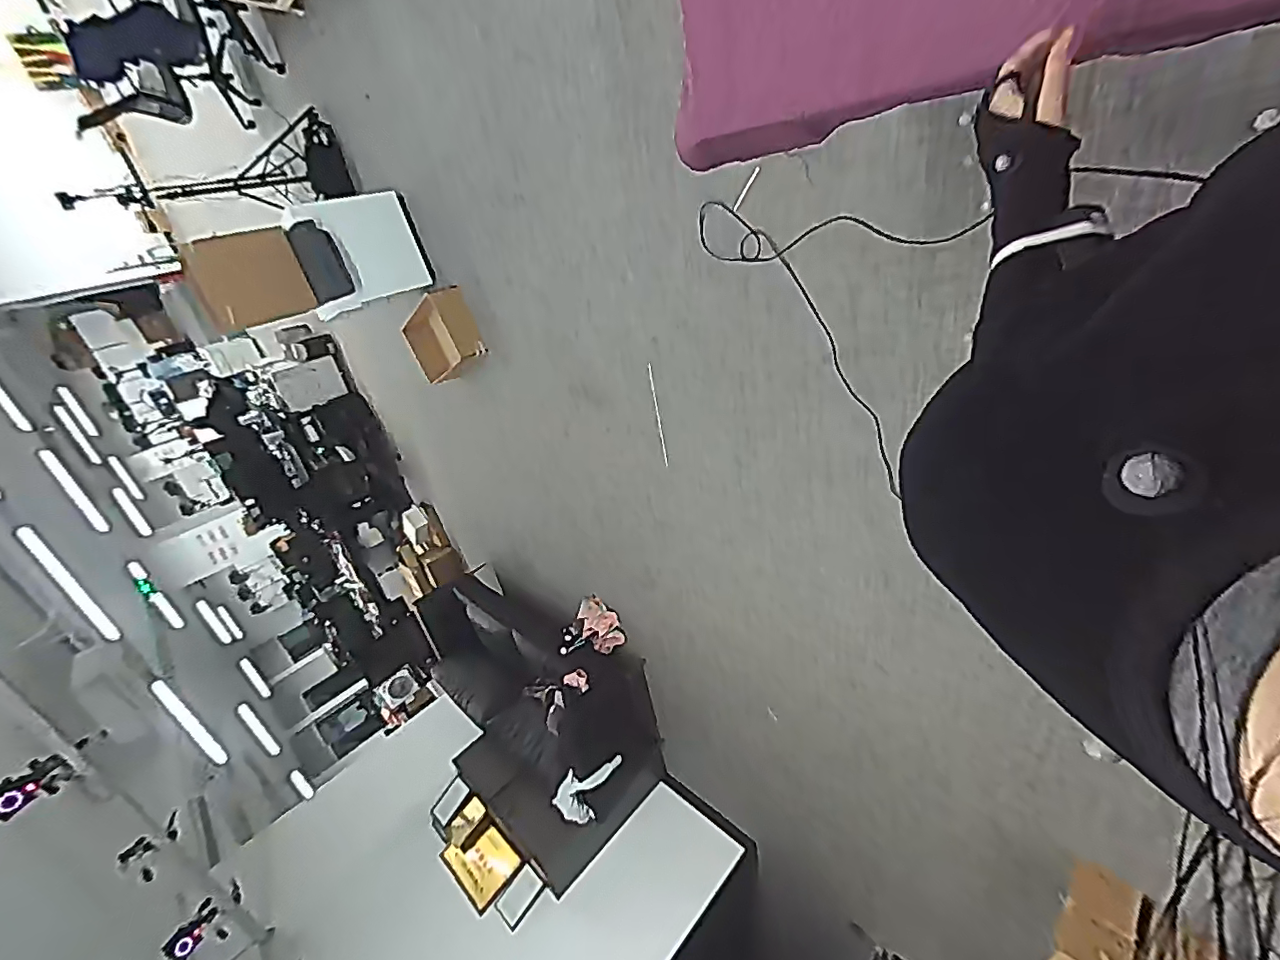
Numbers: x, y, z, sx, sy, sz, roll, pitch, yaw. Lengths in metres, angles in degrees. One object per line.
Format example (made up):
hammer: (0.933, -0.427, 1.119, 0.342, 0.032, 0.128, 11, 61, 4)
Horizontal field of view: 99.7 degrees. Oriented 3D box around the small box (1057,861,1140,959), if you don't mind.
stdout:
small box: (1.513, 1.421, 1.783, 0.168, 0.176, 0.179, 18, 128, 42)
